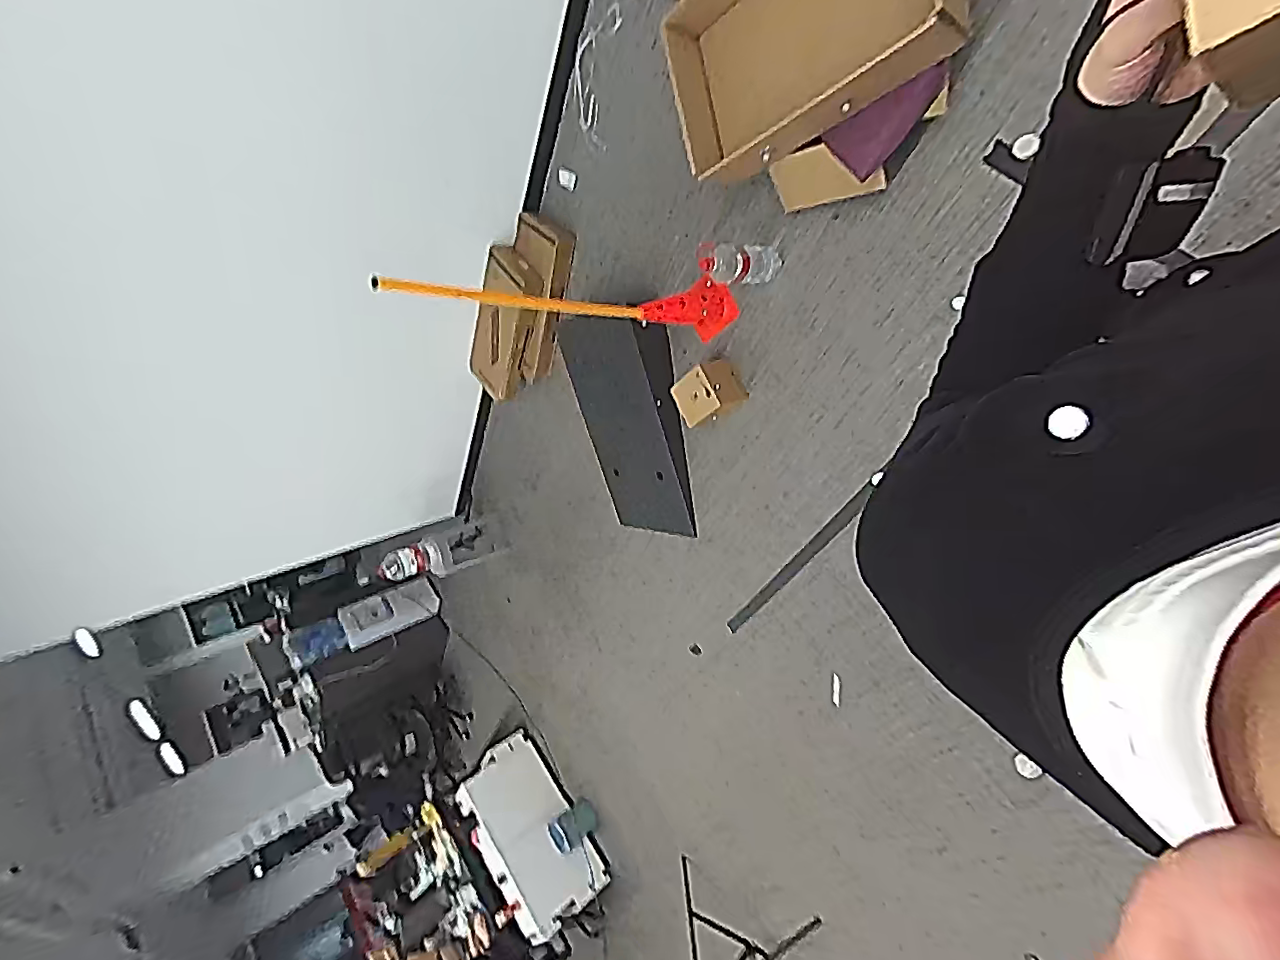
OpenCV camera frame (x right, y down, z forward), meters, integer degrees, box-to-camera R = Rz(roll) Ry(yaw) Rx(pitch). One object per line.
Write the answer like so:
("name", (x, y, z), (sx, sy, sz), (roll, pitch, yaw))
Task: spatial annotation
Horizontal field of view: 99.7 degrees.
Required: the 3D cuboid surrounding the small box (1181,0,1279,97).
("small box", (0.293, -0.262, 0.167), (0.179, 0.176, 0.168), (-6, 100, 53))
